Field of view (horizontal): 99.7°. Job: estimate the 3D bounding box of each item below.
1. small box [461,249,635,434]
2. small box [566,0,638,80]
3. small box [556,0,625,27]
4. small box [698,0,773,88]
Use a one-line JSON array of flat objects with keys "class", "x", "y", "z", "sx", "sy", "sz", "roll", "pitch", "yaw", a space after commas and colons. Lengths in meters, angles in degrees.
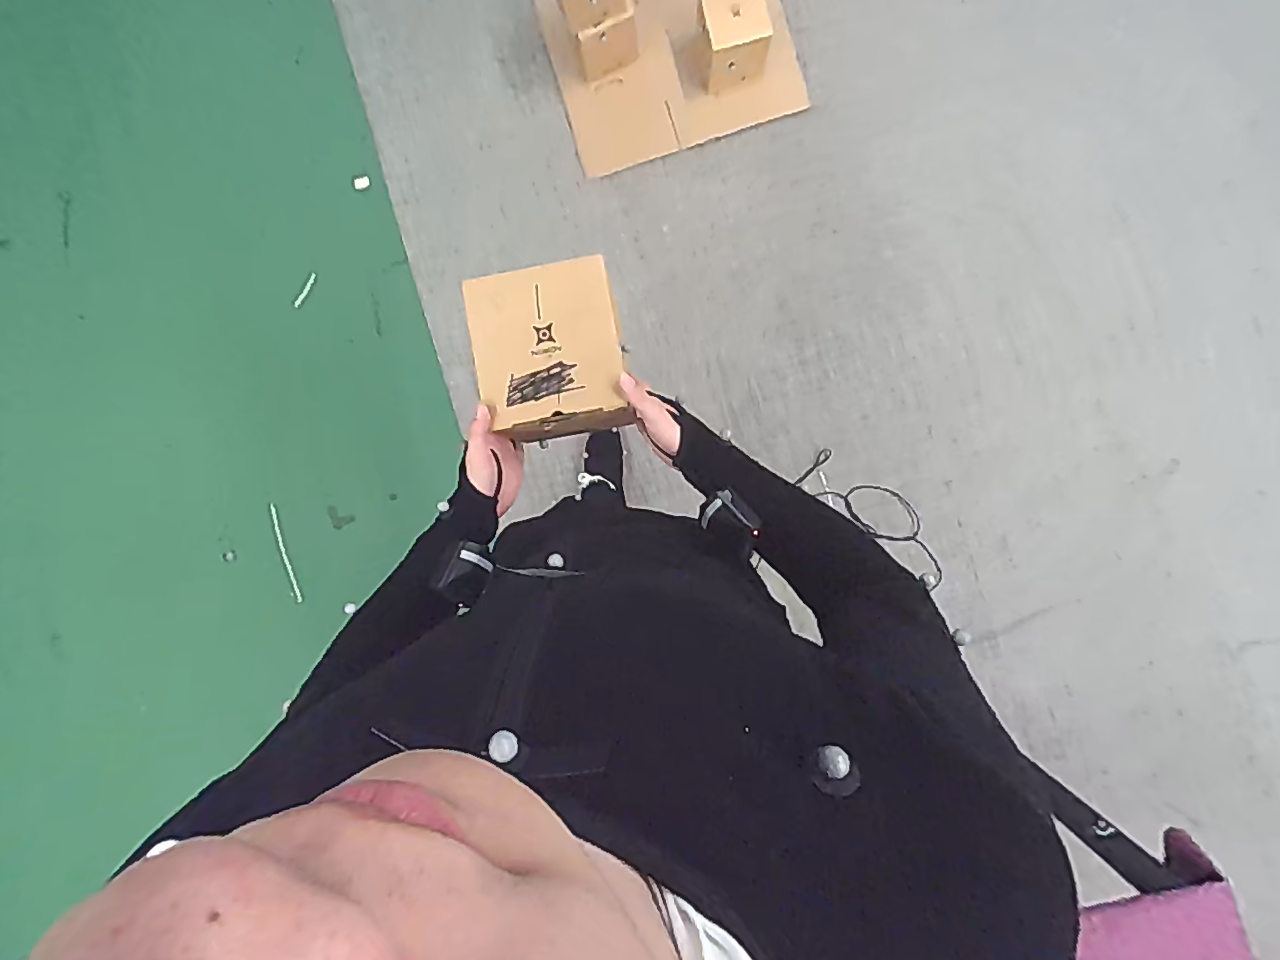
[{"class": "small box", "x": -0.102, "y": -0.156, "z": 0.678, "sx": 0.168, "sy": 0.176, "sz": 0.179, "roll": -10, "pitch": 88, "yaw": 3}, {"class": "small box", "x": -0.114, "y": -1.289, "z": 1.521, "sx": 0.168, "sy": 0.176, "sz": 0.179, "roll": -23, "pitch": 89, "yaw": 3}, {"class": "small box", "x": -0.145, "y": -1.296, "z": 1.357, "sx": 0.168, "sy": 0.176, "sz": 0.179, "roll": -22, "pitch": 88, "yaw": 2}, {"class": "small box", "x": 0.259, "y": -1.233, "z": 1.499, "sx": 0.168, "sy": 0.176, "sz": 0.179, "roll": -13, "pitch": 89, "yaw": 3}]
